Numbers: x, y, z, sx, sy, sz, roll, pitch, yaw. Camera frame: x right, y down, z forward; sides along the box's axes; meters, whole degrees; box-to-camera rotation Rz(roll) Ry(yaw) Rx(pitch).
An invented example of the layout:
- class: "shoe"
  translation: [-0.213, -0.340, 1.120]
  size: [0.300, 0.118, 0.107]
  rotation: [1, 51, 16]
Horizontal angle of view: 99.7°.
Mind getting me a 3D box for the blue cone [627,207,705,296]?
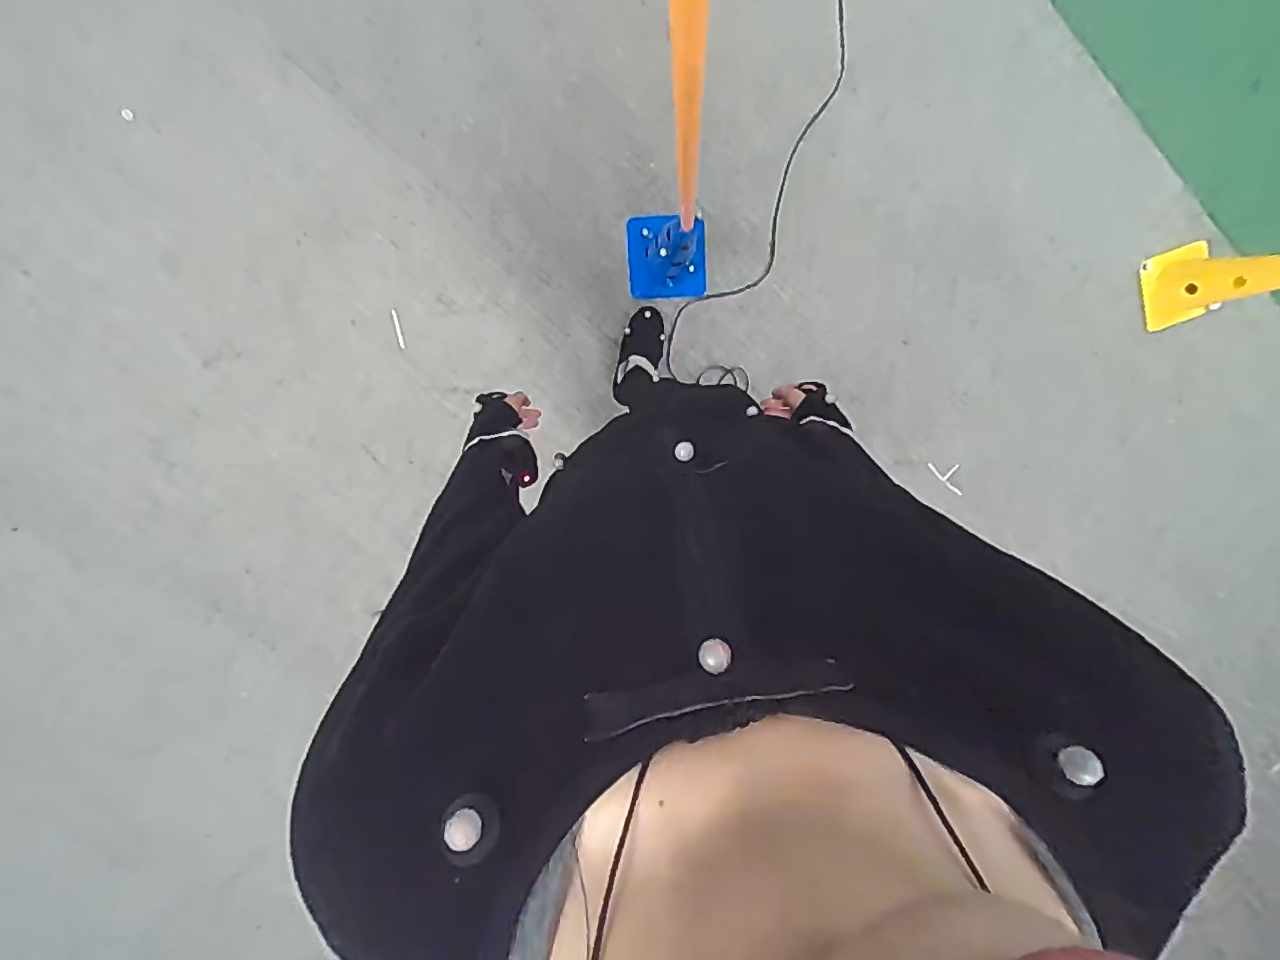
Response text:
- class: "blue cone"
  translation: [0.077, -0.529, 1.202]
  size: [0.193, 0.380, 0.192]
  rotation: [-5, 103, -2]
